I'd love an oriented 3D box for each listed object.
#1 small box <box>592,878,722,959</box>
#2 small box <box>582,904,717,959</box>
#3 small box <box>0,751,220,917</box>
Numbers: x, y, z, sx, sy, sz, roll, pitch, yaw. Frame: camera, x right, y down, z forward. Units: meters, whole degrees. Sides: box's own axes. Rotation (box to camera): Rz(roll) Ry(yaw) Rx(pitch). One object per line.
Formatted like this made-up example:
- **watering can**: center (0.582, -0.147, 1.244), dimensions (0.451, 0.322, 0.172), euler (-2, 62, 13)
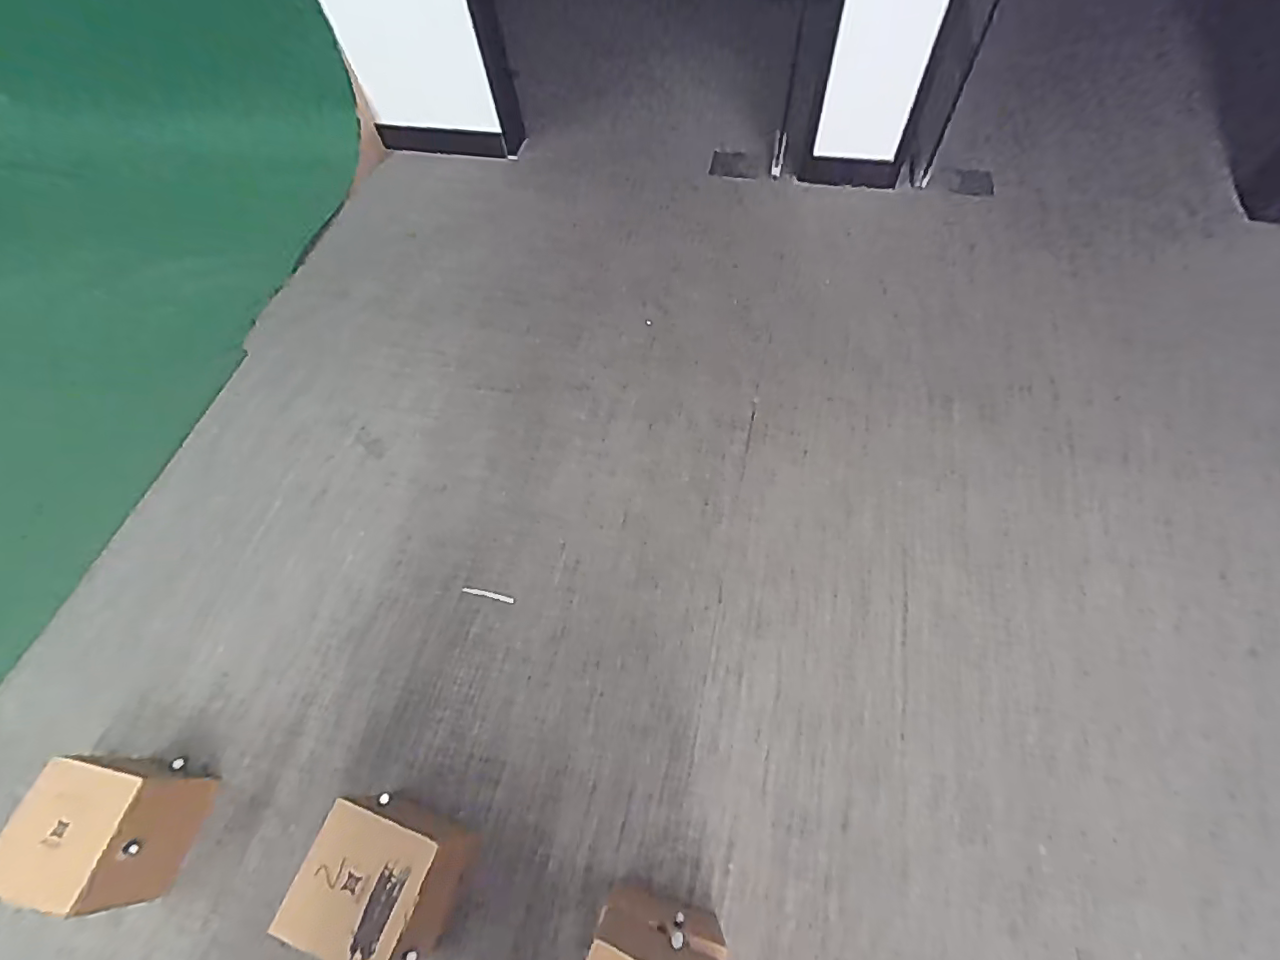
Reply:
- **small box**: center (0.009, 0.674, 0.725), dimensions (0.168, 0.176, 0.179), euler (13, 63, 10)
- **small box**: center (-0.004, 0.599, 0.572), dimensions (0.168, 0.176, 0.179), euler (20, 63, 14)
- **small box**: center (-0.829, 0.546, 0.856), dimensions (0.168, 0.176, 0.179), euler (10, 61, 8)
